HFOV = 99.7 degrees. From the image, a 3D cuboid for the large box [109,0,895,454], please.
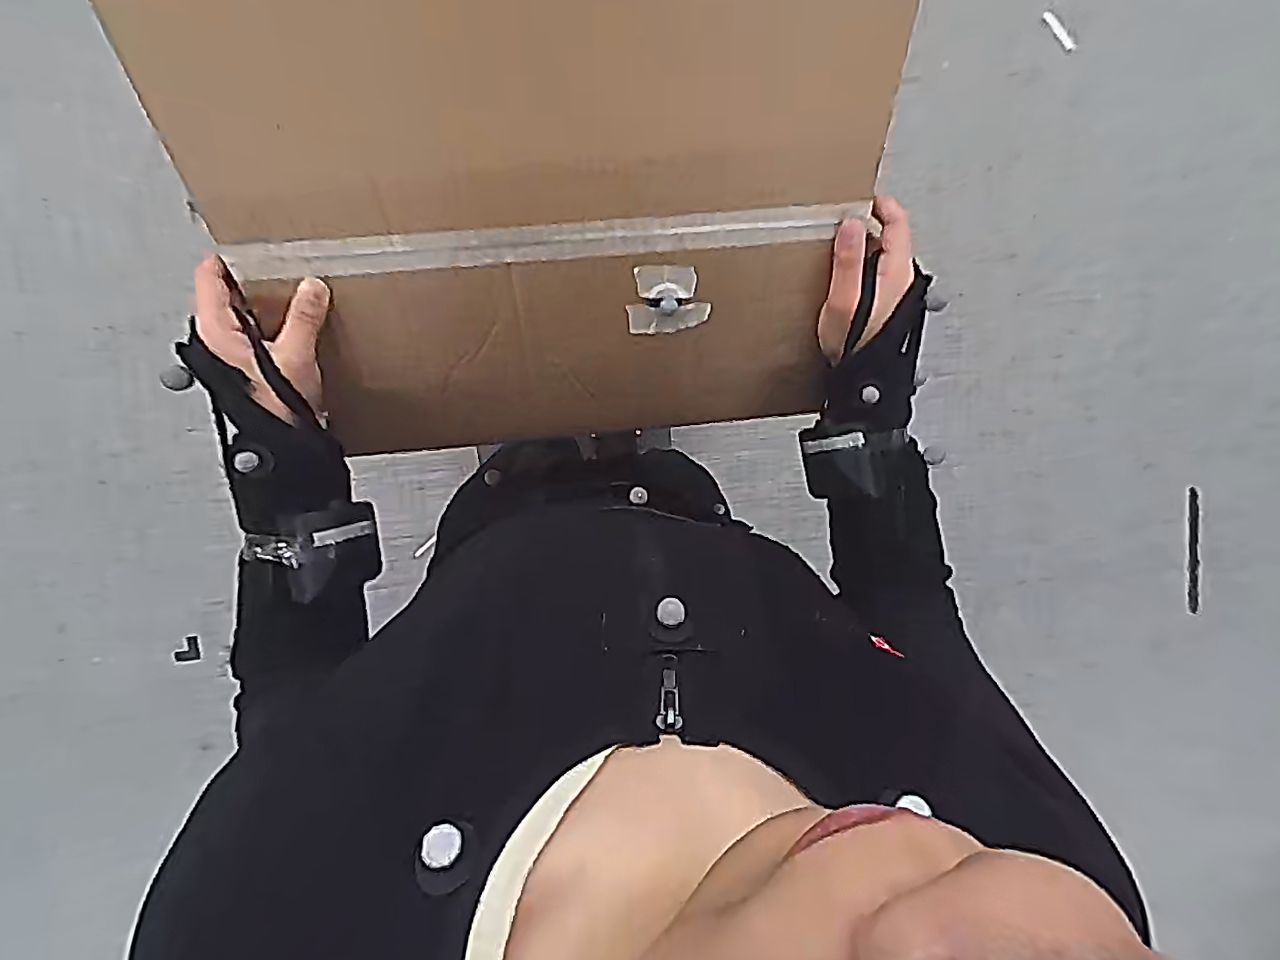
[{"bbox_3d":[-0.074,-0.257,0.463,0.408,0.320,0.320,-7,133,-5],"label":"large box"}]
